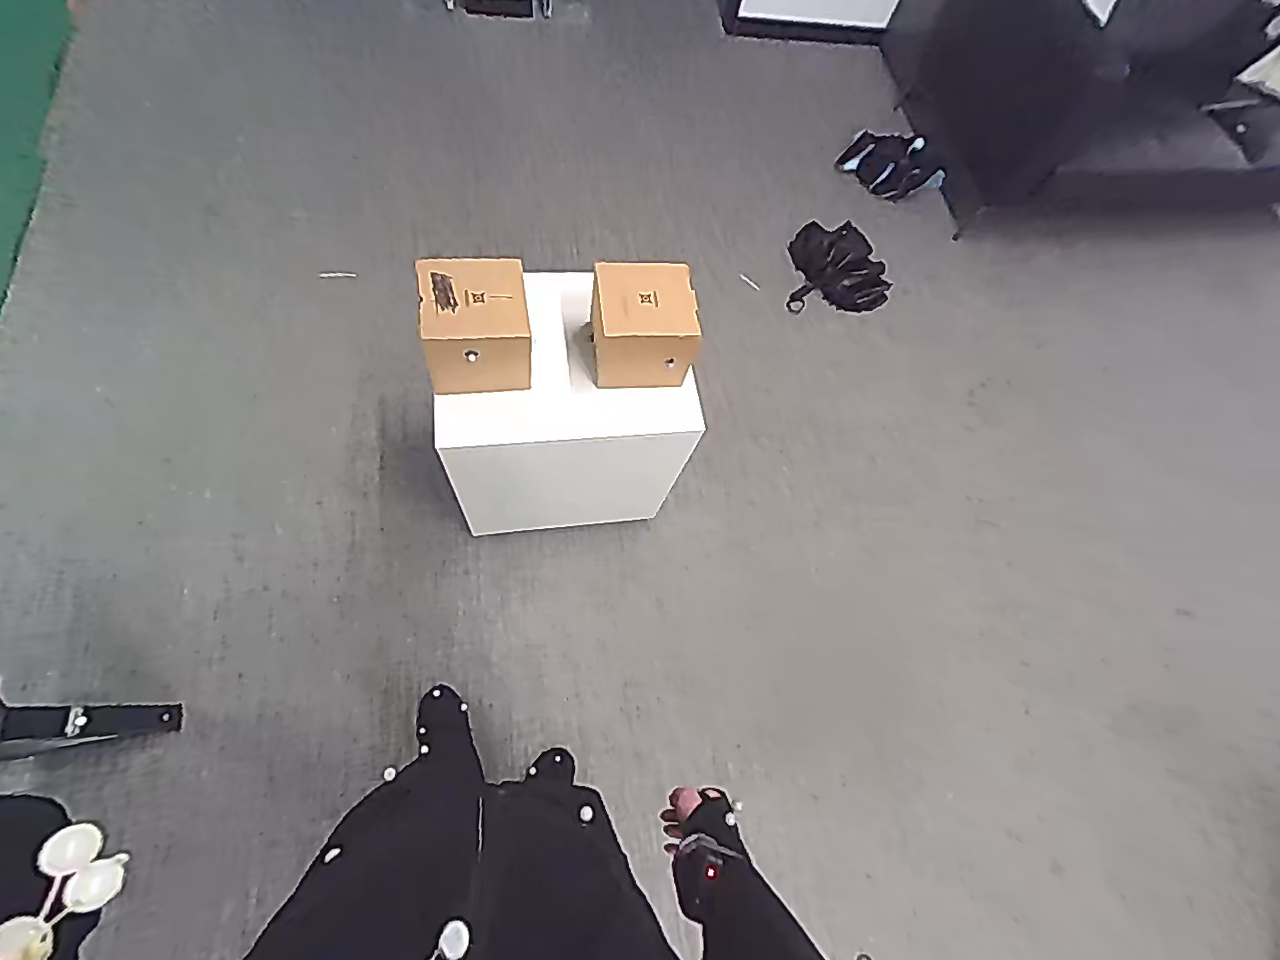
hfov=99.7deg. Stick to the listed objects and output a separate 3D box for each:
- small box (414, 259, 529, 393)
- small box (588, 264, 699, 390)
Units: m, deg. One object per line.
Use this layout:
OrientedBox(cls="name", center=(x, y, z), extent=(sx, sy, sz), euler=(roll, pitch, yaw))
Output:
OrientedBox(cls="small box", center=(-0.294, -0.268, 0.963), extent=(0.179, 0.176, 0.168), euler=(-6, 69, -14))
OrientedBox(cls="small box", center=(-0.002, -0.284, 1.025), extent=(0.179, 0.176, 0.168), euler=(-4, 67, -10))
